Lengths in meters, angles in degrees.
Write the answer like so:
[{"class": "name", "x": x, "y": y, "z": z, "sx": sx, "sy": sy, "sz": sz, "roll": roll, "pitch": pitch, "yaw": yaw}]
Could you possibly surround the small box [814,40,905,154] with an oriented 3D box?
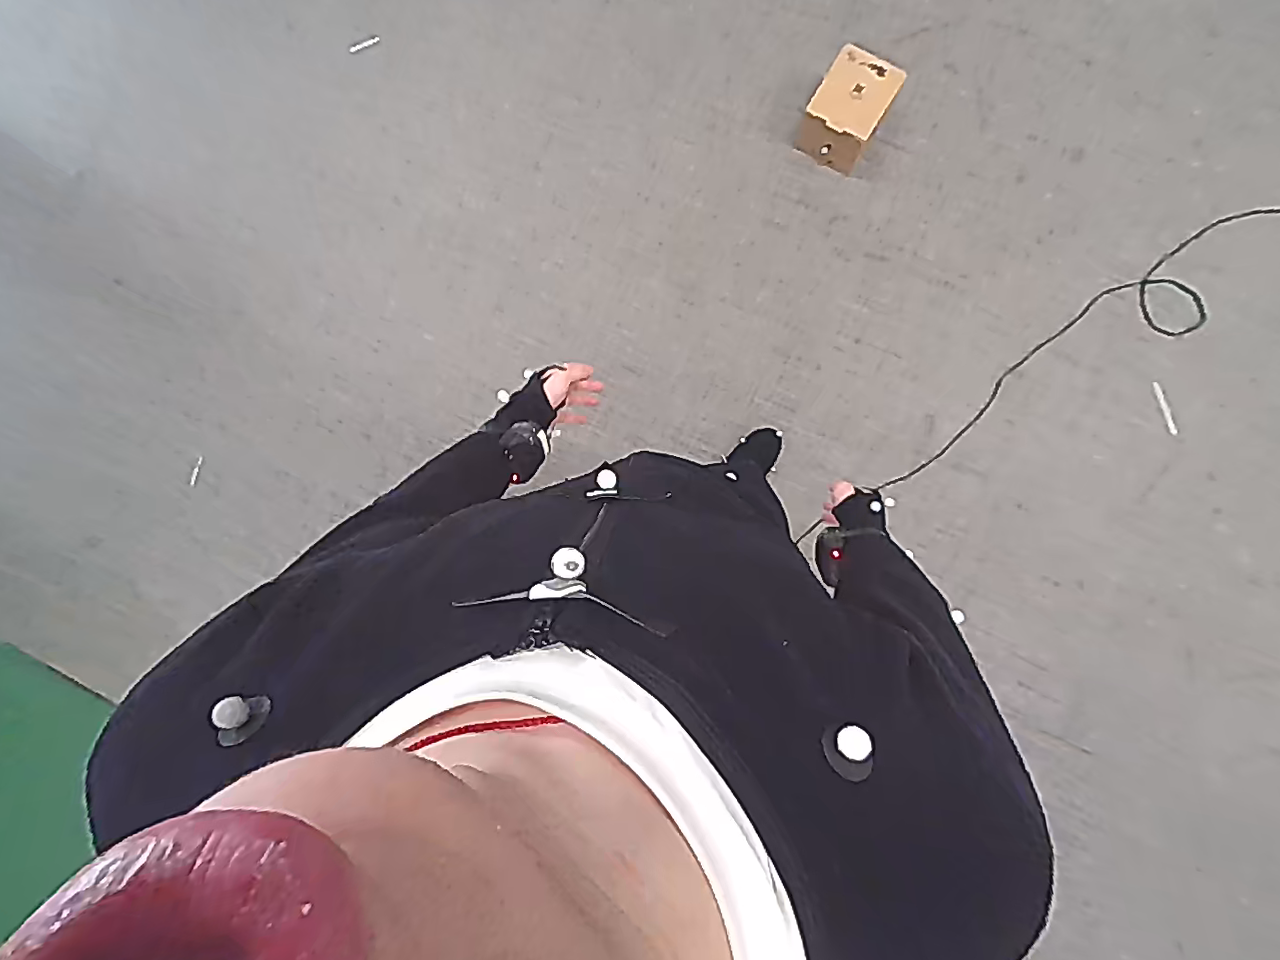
[{"class": "small box", "x": 0.532, "y": -0.932, "z": 1.333, "sx": 0.179, "sy": 0.176, "sz": 0.168, "roll": 3, "pitch": 92, "yaw": 10}]
